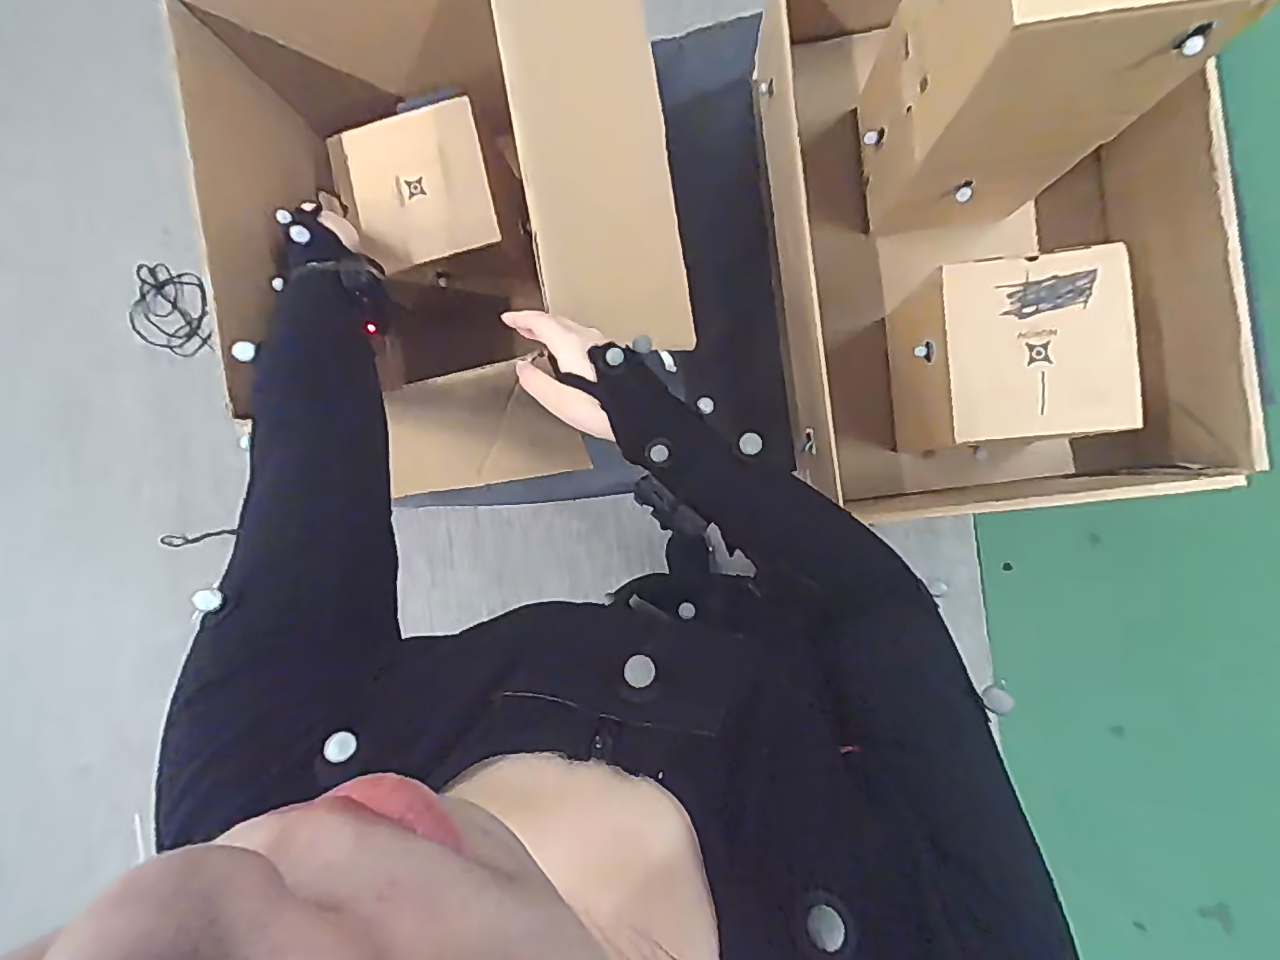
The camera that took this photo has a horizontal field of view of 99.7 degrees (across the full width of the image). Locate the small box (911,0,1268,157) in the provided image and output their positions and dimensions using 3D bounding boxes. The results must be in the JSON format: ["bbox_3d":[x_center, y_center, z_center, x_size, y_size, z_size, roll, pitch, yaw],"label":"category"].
[{"bbox_3d":[0.335,-0.390,0.434,0.179,0.176,0.168,-4,92,5],"label":"small box"}]
